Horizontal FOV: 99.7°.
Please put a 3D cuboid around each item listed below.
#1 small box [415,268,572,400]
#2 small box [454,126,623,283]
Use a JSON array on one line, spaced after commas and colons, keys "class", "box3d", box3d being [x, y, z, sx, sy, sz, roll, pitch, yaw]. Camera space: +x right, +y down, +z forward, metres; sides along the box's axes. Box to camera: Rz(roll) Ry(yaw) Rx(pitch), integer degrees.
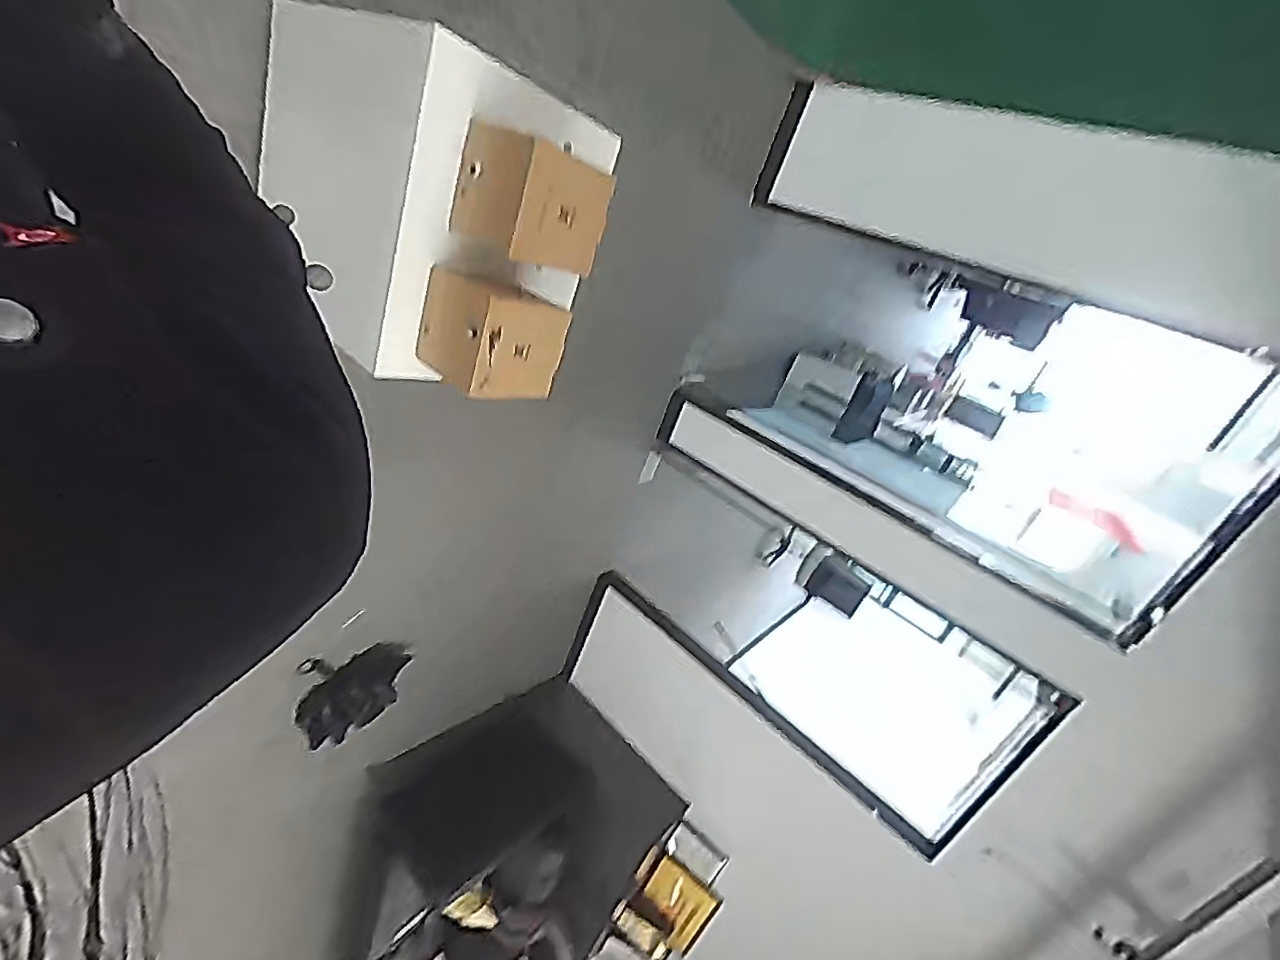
[{"class": "small box", "box3d": [-0.255, -0.250, 0.938, 0.179, 0.176, 0.168, -10, 129, -53]}, {"class": "small box", "box3d": [-0.163, -0.433, 0.858, 0.179, 0.176, 0.168, -11, 128, -50]}]
